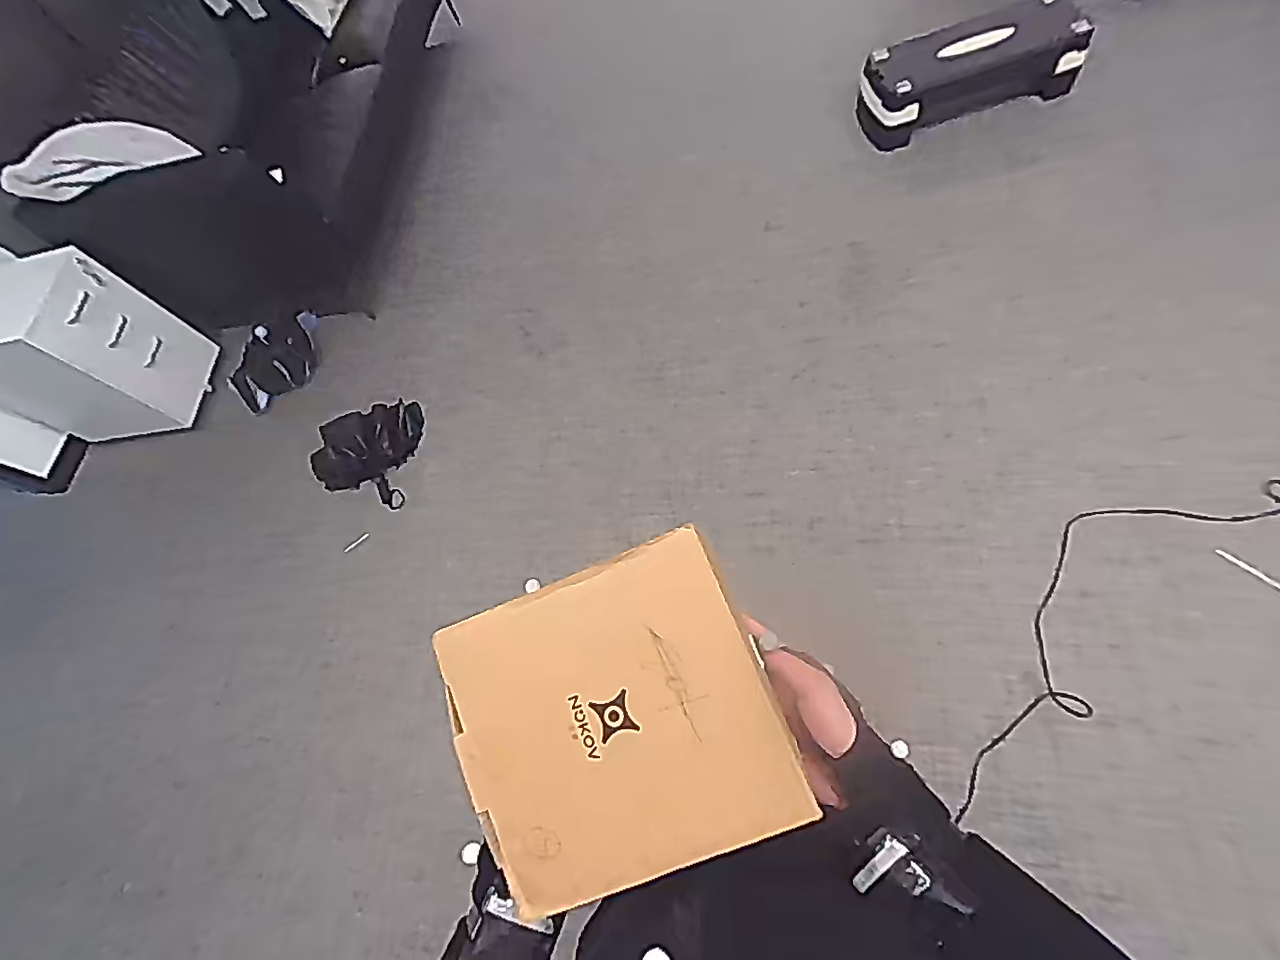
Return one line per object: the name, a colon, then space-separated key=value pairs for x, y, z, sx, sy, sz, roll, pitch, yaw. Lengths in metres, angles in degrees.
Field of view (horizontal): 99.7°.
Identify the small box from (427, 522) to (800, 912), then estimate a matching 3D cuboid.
small box: x=-0.009 y=0.142 z=0.381 sx=0.179 sy=0.176 sz=0.168 roll=-24 pitch=79 yaw=5
